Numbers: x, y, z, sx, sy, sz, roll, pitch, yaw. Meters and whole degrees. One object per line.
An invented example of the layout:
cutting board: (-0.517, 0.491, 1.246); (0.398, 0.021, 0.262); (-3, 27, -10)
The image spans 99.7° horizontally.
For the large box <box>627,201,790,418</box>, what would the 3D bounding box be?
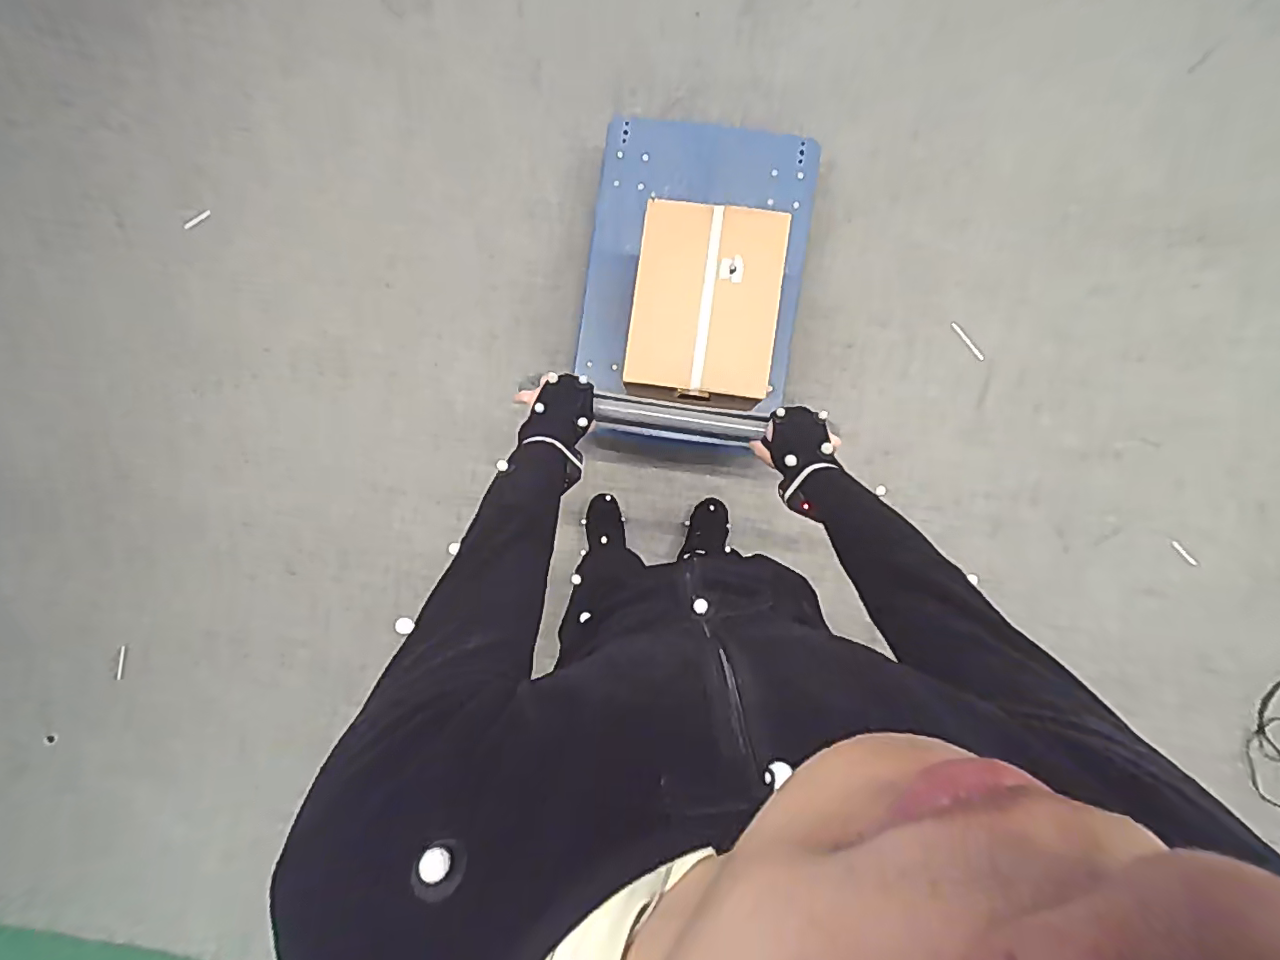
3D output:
large box: (0.153, -0.380, 1.296); (0.320, 0.320, 0.408); (8, 89, 2)
